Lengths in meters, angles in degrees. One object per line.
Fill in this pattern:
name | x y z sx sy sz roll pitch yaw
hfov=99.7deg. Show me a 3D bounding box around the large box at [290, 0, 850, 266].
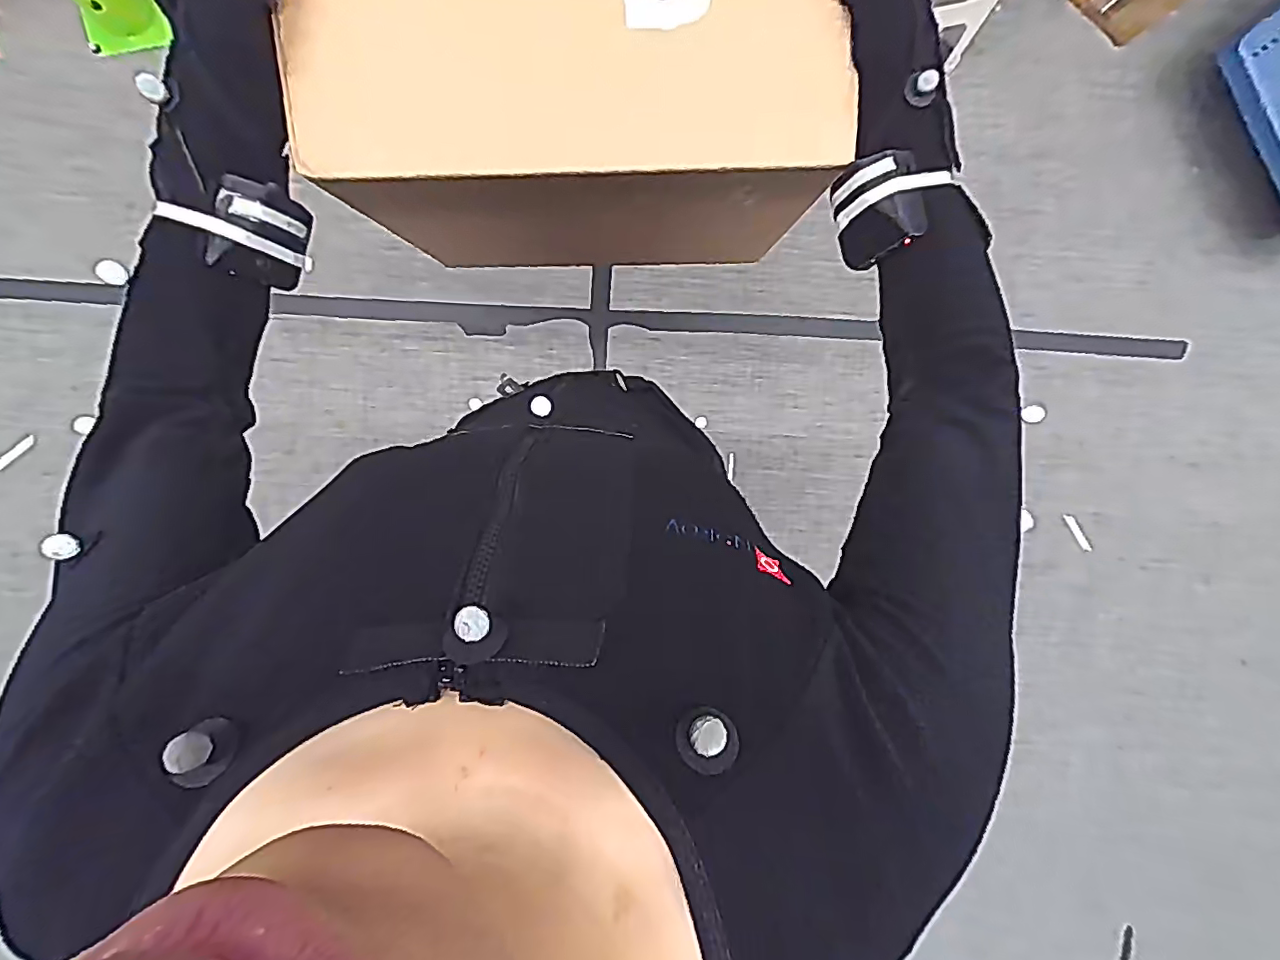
large box | -0.052 -0.408 0.523 0.408 0.320 0.320 -1 100 -1
